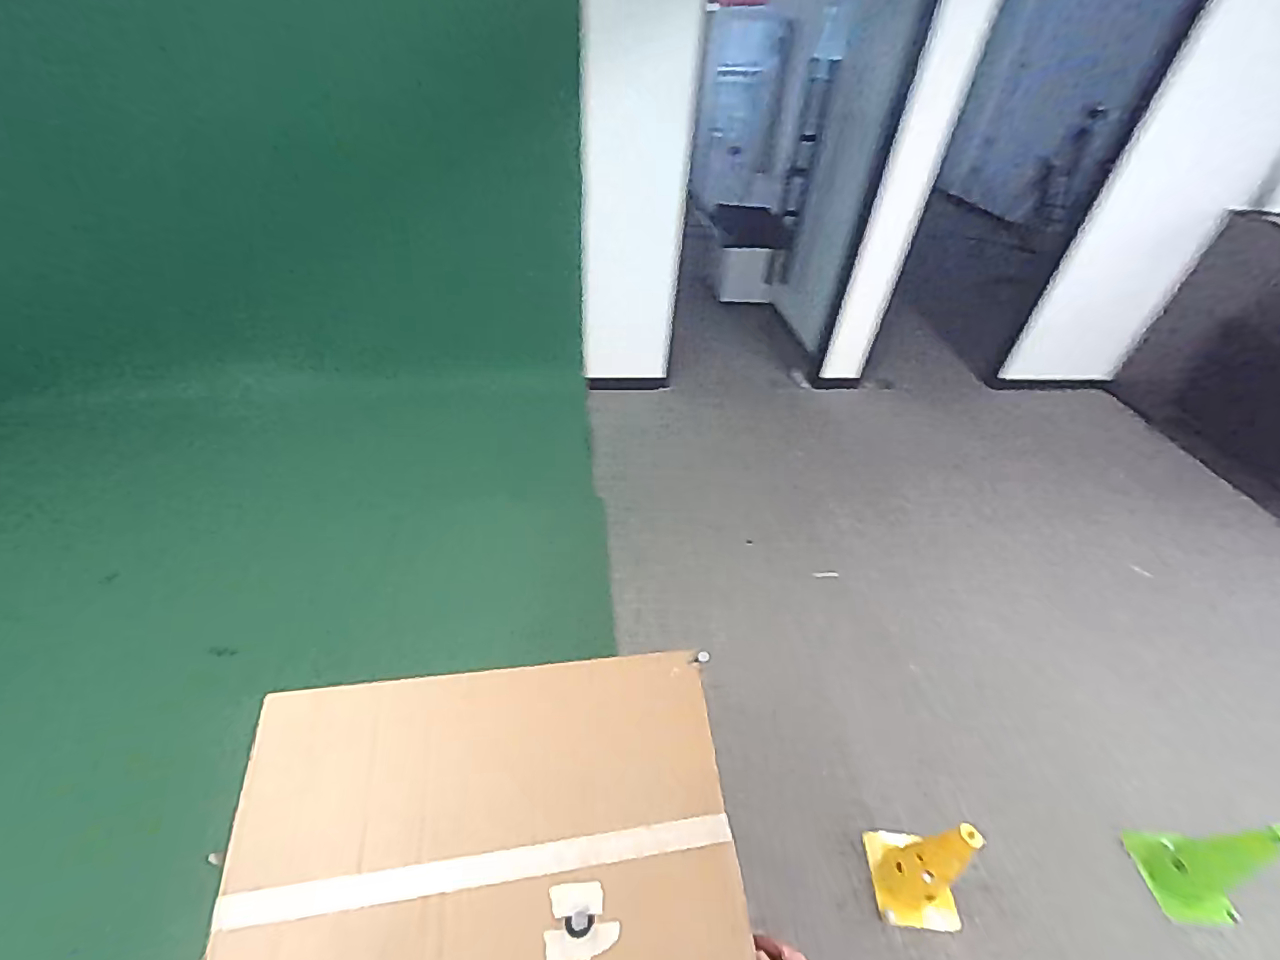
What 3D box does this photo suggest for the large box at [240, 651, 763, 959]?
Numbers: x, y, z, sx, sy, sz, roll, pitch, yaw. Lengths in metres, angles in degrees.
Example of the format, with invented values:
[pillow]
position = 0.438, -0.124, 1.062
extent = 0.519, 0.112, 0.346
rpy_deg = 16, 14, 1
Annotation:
[large box]
position = -0.127, 0.399, 0.578
extent = 0.408, 0.320, 0.320
rpy_deg = -2, 58, -10

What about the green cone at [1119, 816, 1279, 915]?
[green cone]
position = 1.461, 0.926, 1.358
extent = 0.202, 0.368, 0.200
rpy_deg = 2, 40, -2
